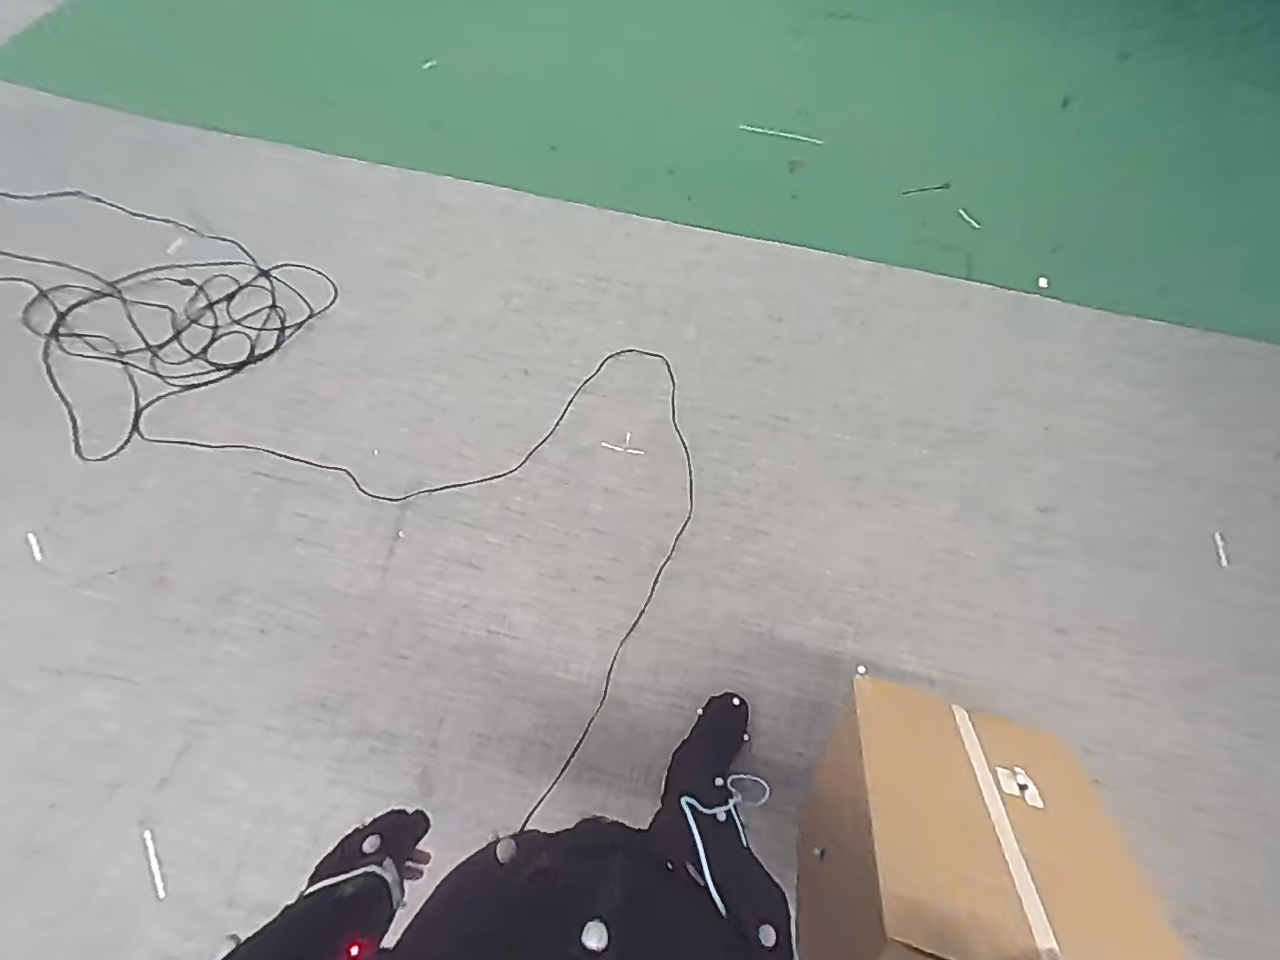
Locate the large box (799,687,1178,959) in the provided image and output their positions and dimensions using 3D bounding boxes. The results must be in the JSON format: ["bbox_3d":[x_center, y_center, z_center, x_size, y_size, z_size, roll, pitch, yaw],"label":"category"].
[{"bbox_3d":[0.404,0.567,0.712,0.320,0.320,0.408,17,20,11],"label":"large box"}]
